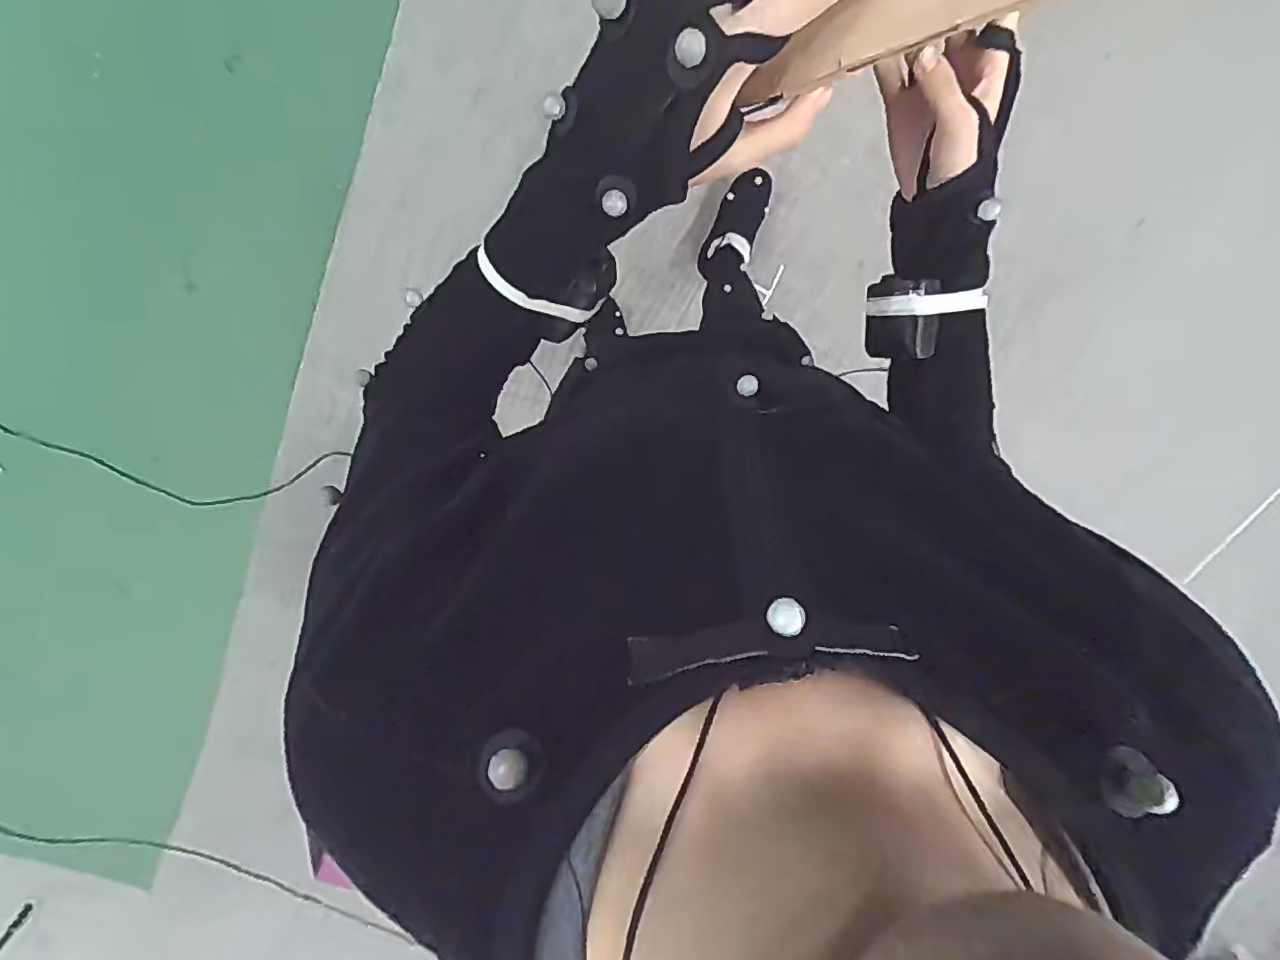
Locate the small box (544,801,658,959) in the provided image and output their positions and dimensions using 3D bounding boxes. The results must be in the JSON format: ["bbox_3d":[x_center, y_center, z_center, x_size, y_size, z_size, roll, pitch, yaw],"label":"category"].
[{"bbox_3d":[-0.071,0.735,0.995,0.168,0.176,0.179,13,112,-8],"label":"small box"}]

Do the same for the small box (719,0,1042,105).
[{"bbox_3d":[0.127,-0.294,0.230,0.168,0.179,0.176,9,130,38],"label":"small box"}]
